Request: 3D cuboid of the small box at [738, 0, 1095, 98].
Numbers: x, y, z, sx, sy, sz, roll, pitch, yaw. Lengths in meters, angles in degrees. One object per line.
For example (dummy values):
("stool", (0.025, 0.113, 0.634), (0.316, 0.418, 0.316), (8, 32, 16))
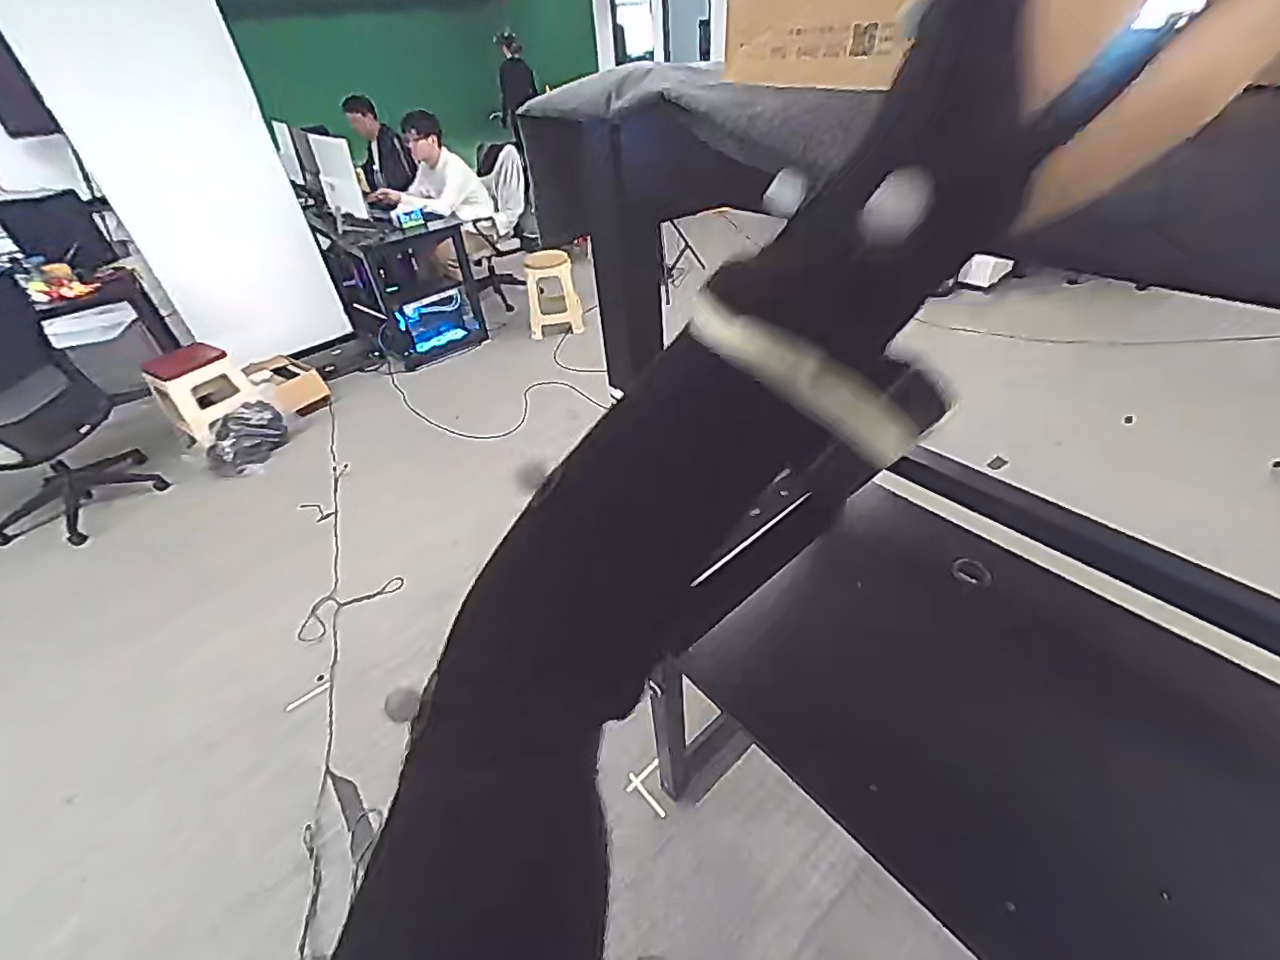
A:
("small box", (0.172, -0.333, 0.318), (0.179, 0.176, 0.168), (-29, 46, -30))
